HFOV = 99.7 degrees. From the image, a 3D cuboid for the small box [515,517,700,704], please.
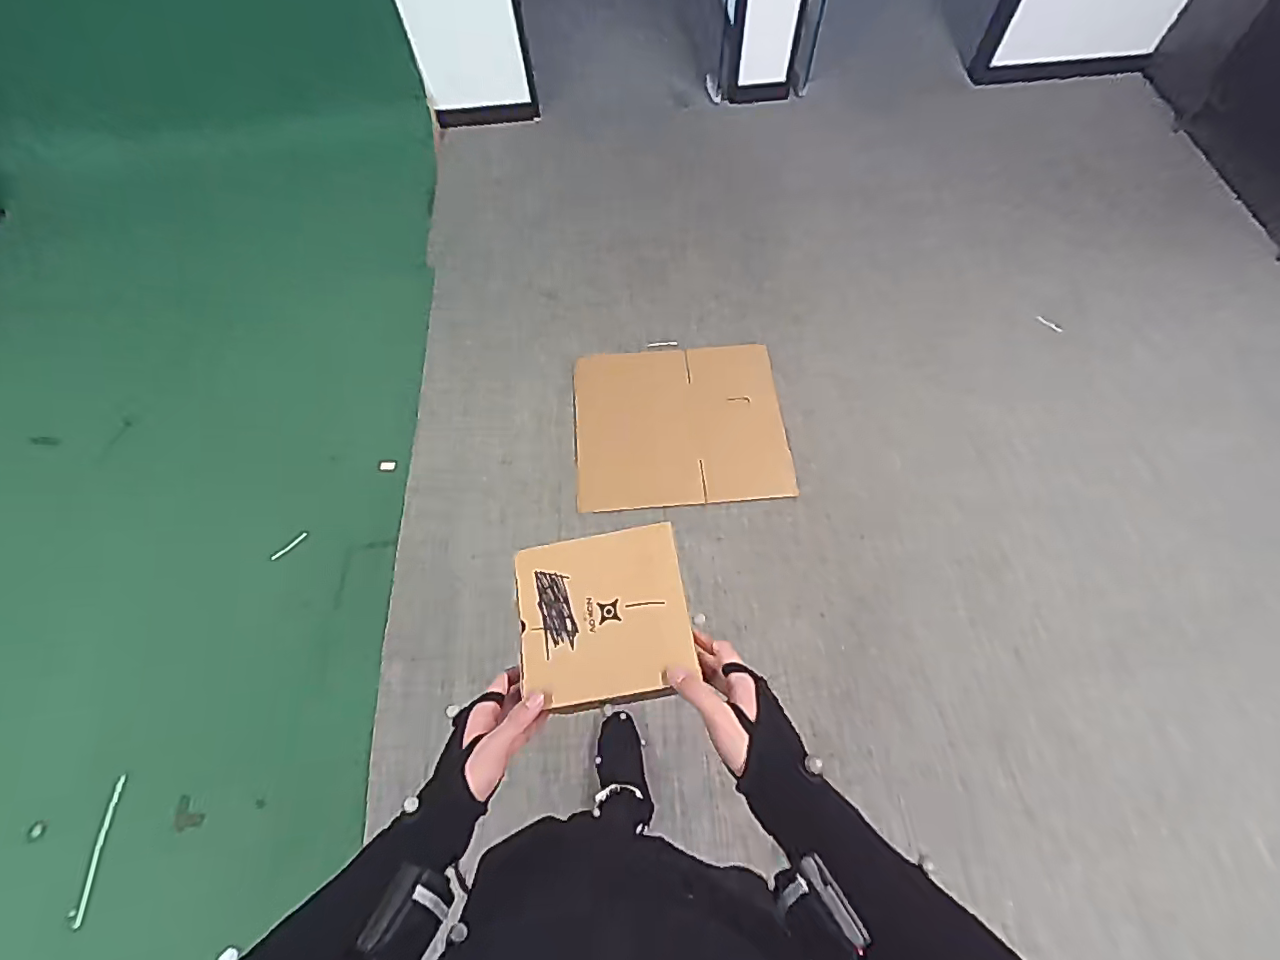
[{"bbox_3d":[-0.031,0.160,0.628,0.179,0.176,0.168,-11,66,3],"label":"small box"}]
